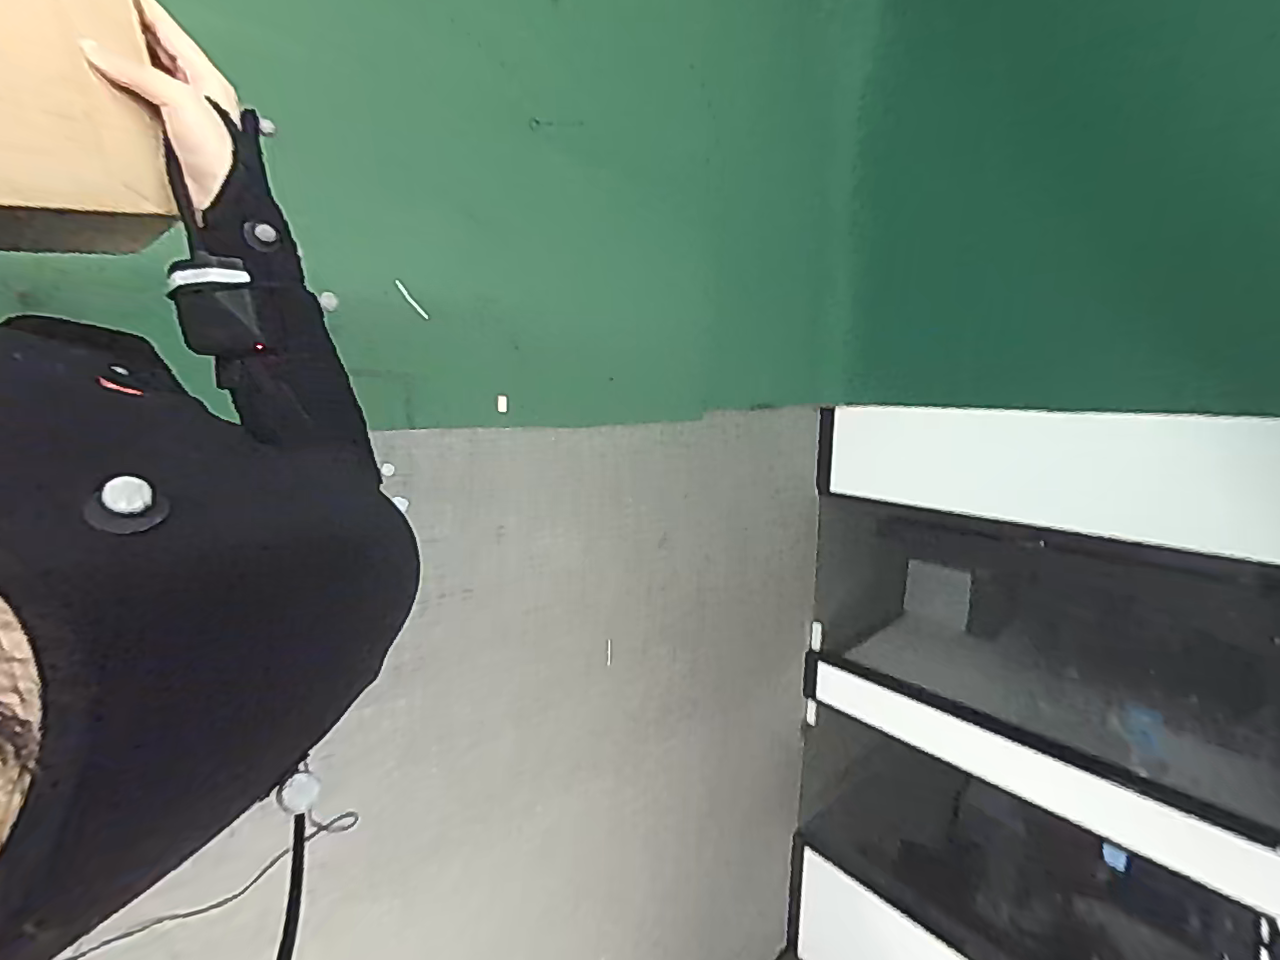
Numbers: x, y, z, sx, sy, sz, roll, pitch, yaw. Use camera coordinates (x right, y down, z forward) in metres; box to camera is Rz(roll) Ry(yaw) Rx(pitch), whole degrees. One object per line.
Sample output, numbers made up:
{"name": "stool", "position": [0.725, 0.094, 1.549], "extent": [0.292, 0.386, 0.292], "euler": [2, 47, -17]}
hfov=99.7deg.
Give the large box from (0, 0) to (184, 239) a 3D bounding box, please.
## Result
{"name": "large box", "position": [-0.587, -0.327, 0.312], "extent": [0.408, 0.320, 0.320], "euler": [-21, 117, -45]}
